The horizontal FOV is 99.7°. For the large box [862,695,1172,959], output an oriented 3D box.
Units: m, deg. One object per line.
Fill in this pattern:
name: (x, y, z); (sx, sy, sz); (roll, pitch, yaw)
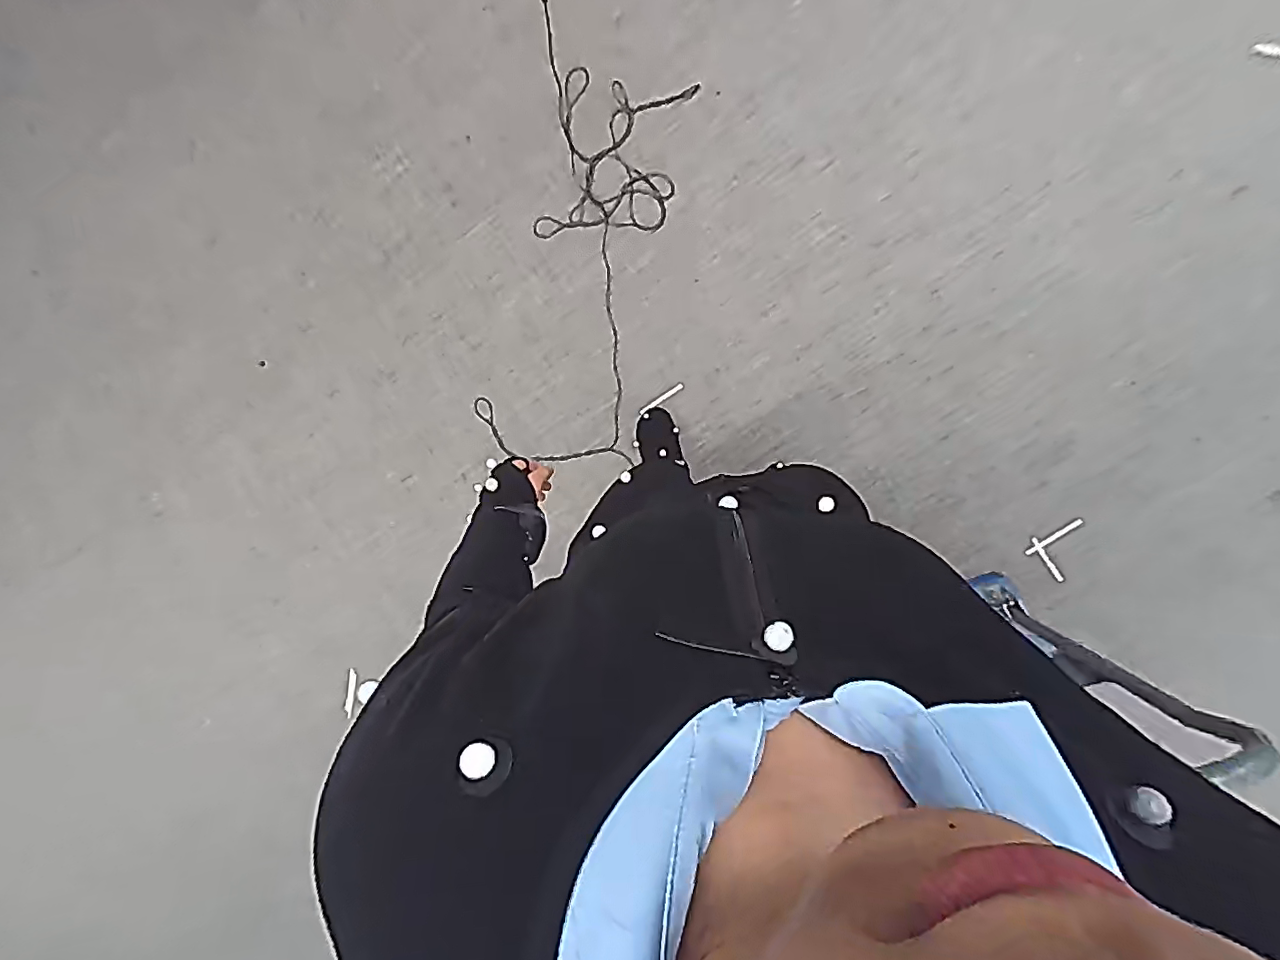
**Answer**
large box: (0.773, 0.740, 1.181); (0.408, 0.320, 0.320); (-24, 93, 8)
